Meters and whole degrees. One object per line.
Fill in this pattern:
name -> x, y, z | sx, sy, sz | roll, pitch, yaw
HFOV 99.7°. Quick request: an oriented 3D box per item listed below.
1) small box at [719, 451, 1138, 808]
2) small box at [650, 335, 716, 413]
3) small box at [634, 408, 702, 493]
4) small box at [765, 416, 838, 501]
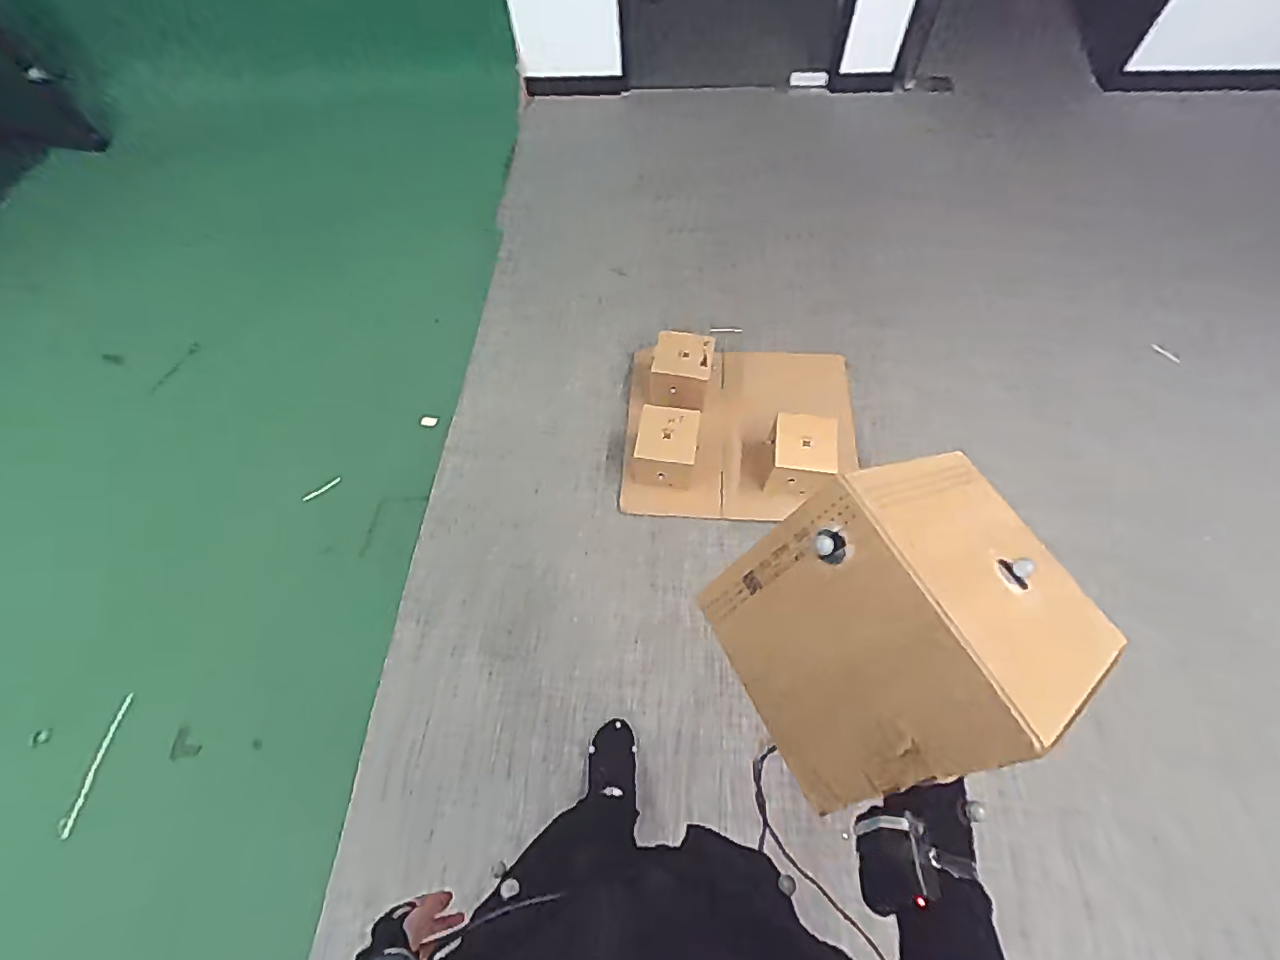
small box -> 0.190, 0.094, 0.389 | 0.179, 0.168, 0.176 | -8, 59, -39
small box -> 0.133, -0.323, 1.673 | 0.179, 0.176, 0.168 | 9, 63, 7
small box -> 0.081, -0.080, 1.550 | 0.168, 0.176, 0.179 | 8, 63, 6
small box -> 0.451, -0.055, 1.521 | 0.168, 0.176, 0.179 | 7, 63, 5
